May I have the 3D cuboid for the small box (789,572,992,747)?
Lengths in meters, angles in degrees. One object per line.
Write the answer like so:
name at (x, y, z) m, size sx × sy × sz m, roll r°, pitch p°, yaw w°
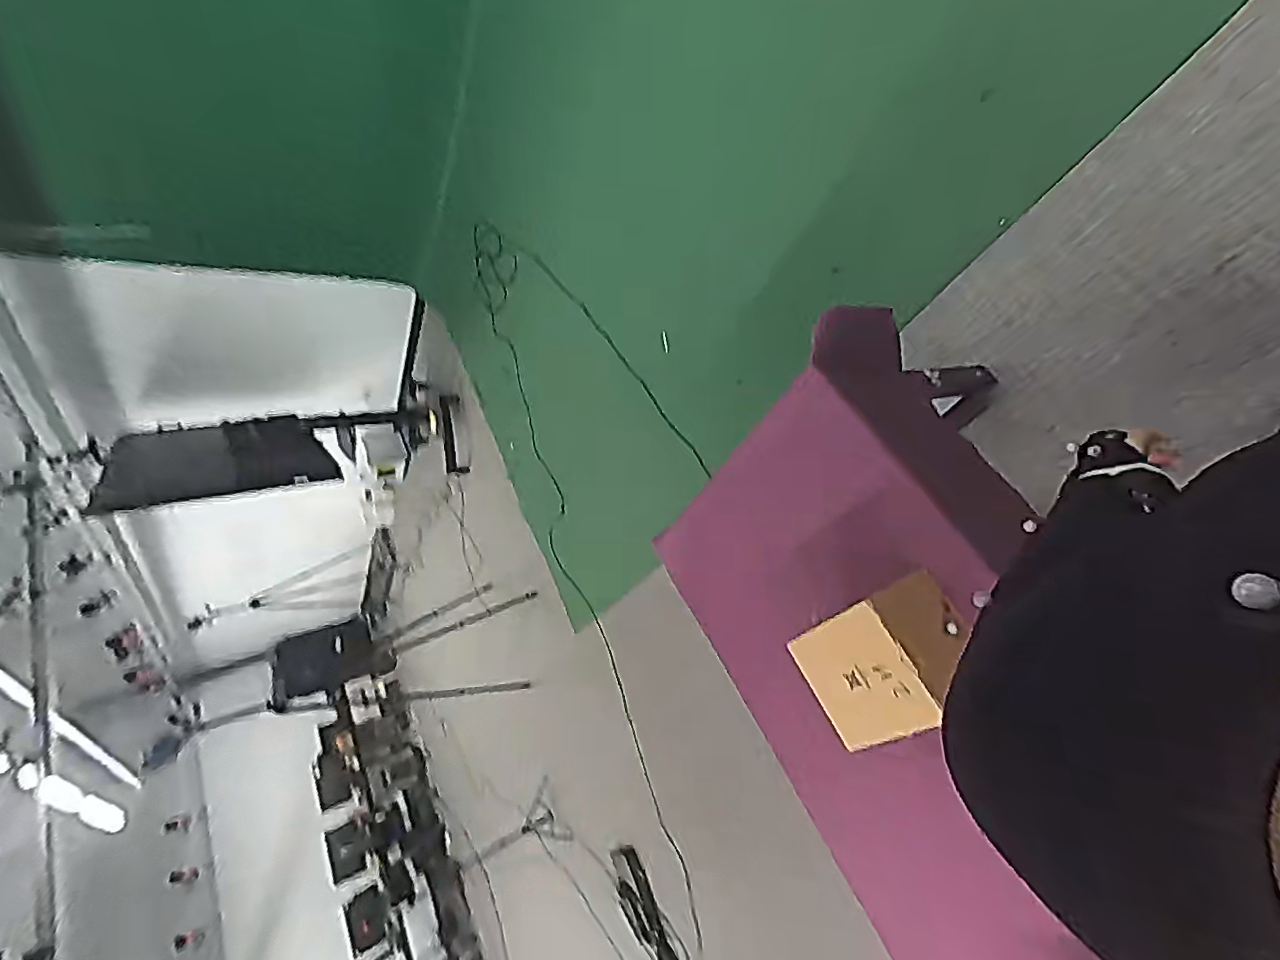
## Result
small box at (0.364, 0.258, 0.793) m, size 0.168 × 0.176 × 0.179 m, roll 61°, pitch 139°, yaw 21°
